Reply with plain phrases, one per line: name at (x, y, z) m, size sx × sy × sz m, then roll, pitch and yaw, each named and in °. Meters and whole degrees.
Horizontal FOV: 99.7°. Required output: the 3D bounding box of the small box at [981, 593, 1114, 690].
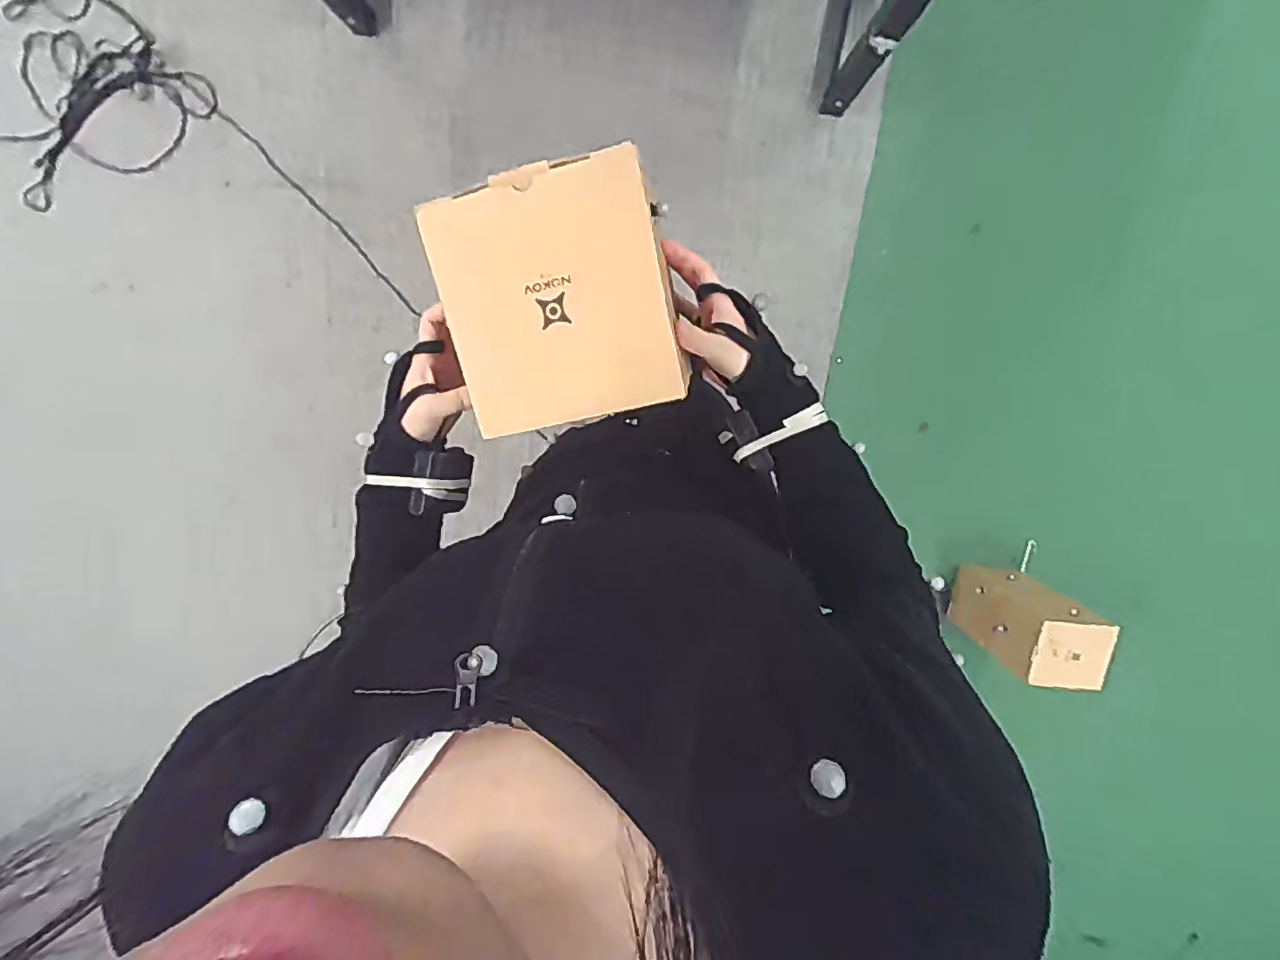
small box at (0.985, 0.387, 1.322) m, size 0.179 × 0.176 × 0.168 m, roll 5°, pitch 103°, yaw 0°

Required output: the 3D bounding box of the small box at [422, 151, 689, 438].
small box at (-0.052, -0.150, 0.474) m, size 0.168 × 0.176 × 0.179 m, roll -11°, pitch 104°, yaw 9°
